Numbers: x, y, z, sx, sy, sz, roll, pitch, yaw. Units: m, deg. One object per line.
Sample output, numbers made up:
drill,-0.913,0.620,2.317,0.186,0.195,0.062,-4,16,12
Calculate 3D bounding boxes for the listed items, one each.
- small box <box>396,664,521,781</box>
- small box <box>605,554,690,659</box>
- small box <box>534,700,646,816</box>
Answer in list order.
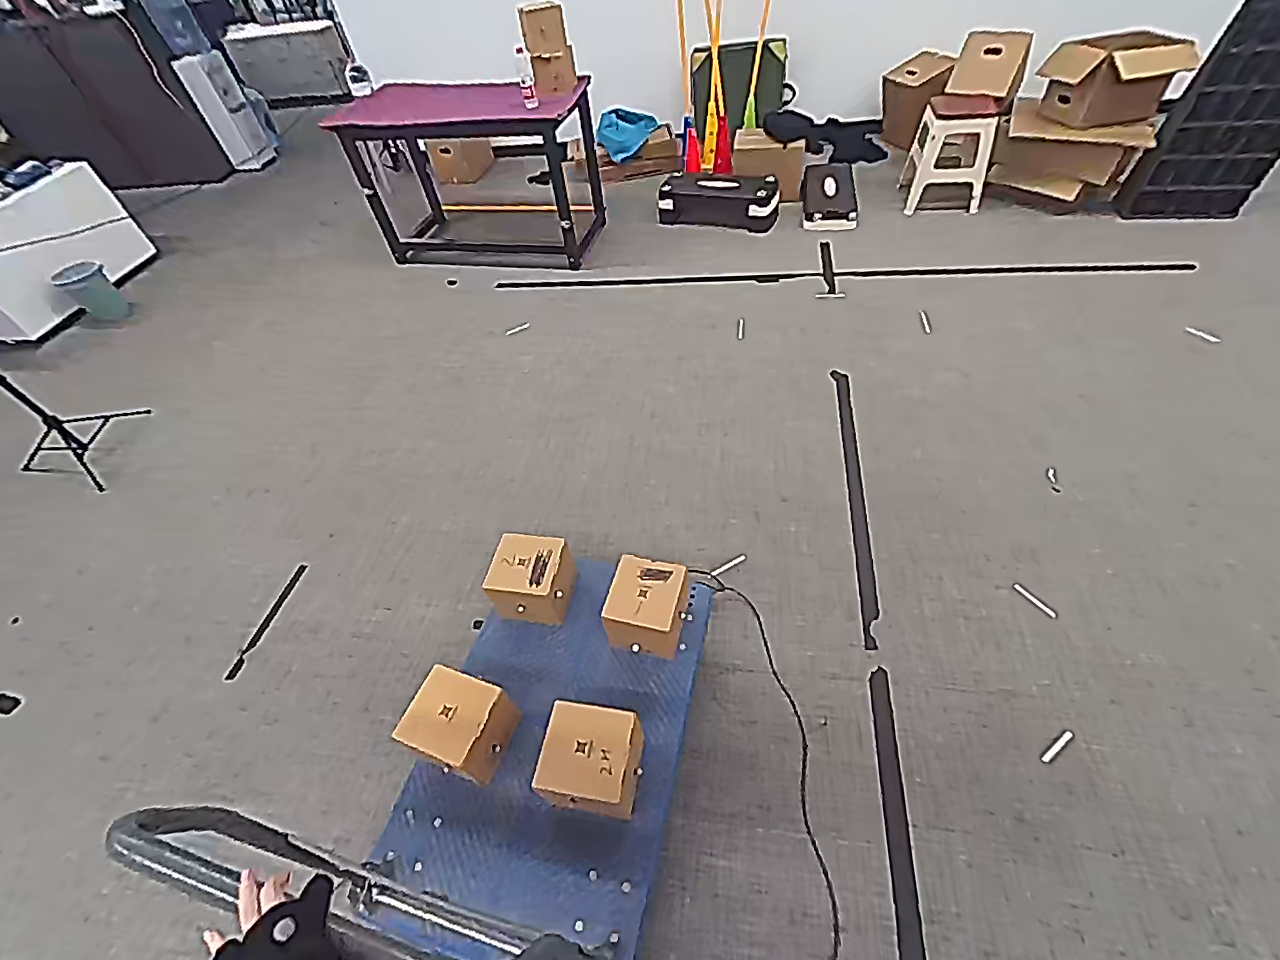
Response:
small box,-0.390,0.539,1.195,0.179,0.176,0.168,13,52,16
small box,0.026,0.311,1.331,0.168,0.176,0.179,9,53,15
small box,-0.093,0.578,1.119,0.179,0.176,0.168,4,51,12
